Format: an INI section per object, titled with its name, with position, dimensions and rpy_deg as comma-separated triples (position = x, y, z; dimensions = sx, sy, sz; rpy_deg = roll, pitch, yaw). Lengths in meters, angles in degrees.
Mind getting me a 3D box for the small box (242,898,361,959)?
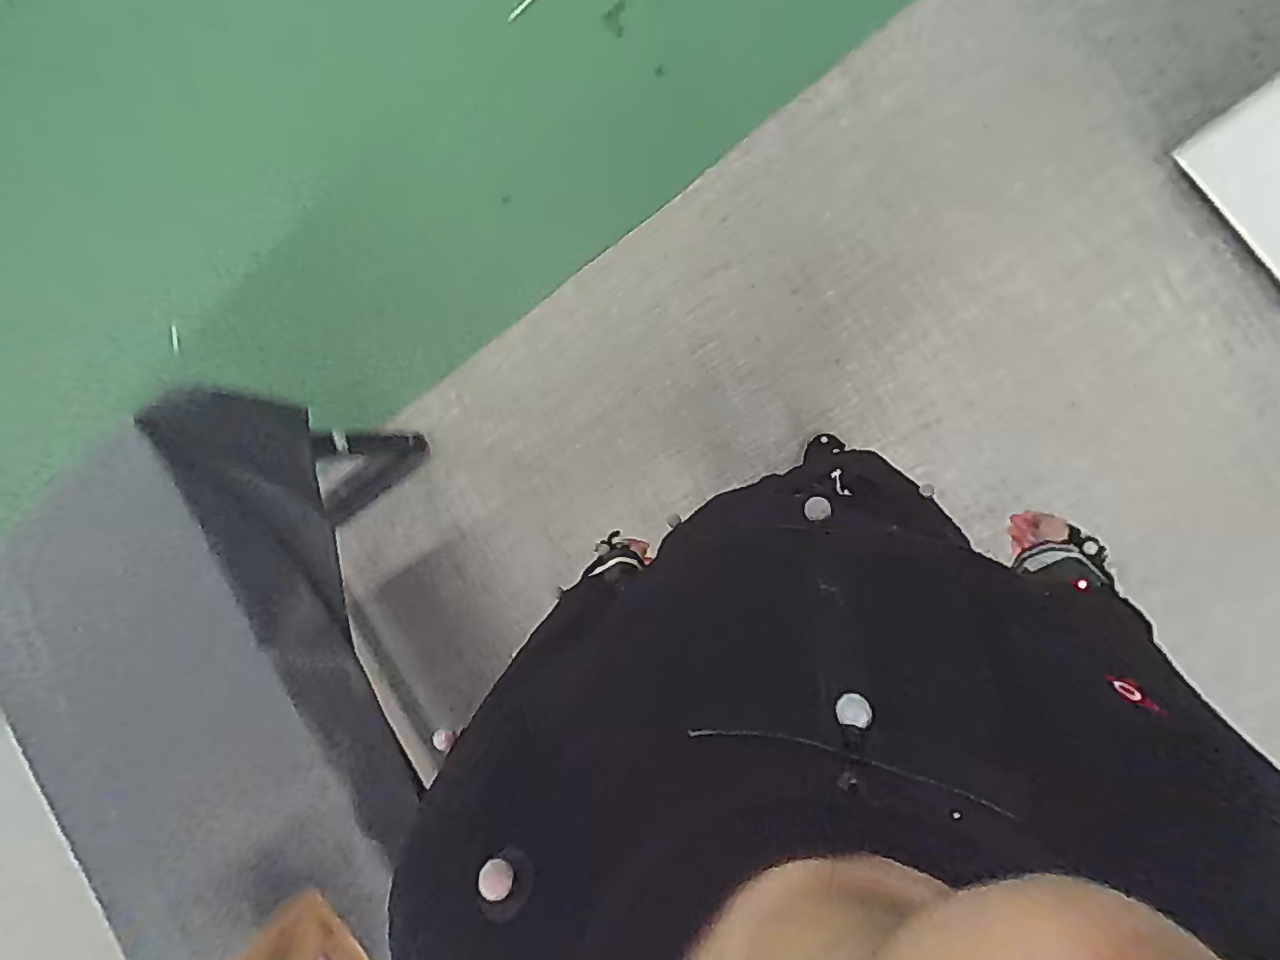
[small box]
position = -0.534, 0.768, 0.777
dimensions = 0.179, 0.176, 0.168
rpy_deg = -45, 82, 13
